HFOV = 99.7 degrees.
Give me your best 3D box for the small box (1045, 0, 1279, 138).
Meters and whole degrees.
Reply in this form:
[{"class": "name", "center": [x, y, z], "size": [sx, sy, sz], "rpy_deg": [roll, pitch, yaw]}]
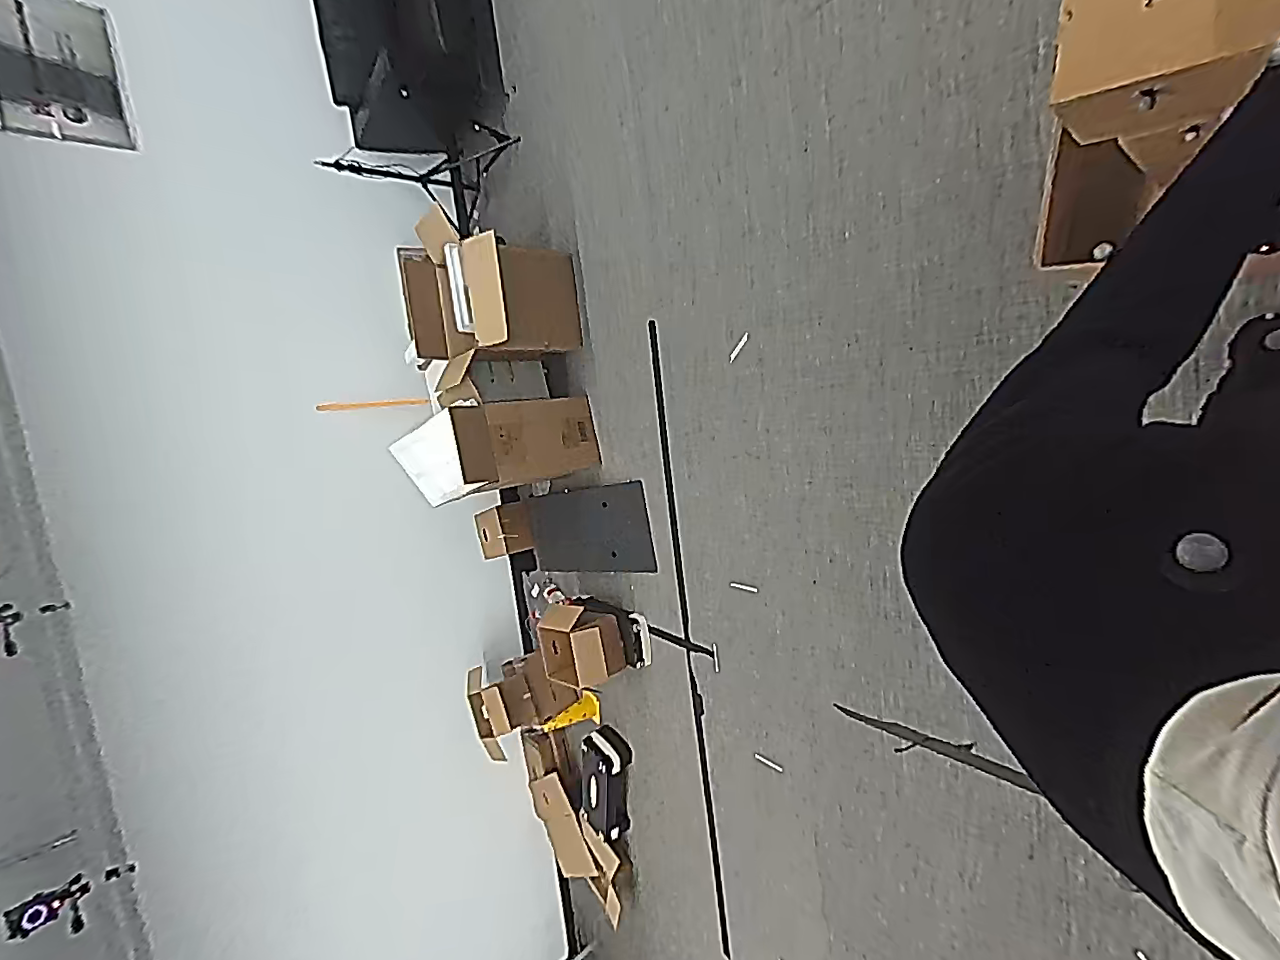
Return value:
[{"class": "small box", "center": [0.559, -0.482, 0.557], "size": [0.179, 0.176, 0.168], "rpy_deg": [16, 111, 49]}]
